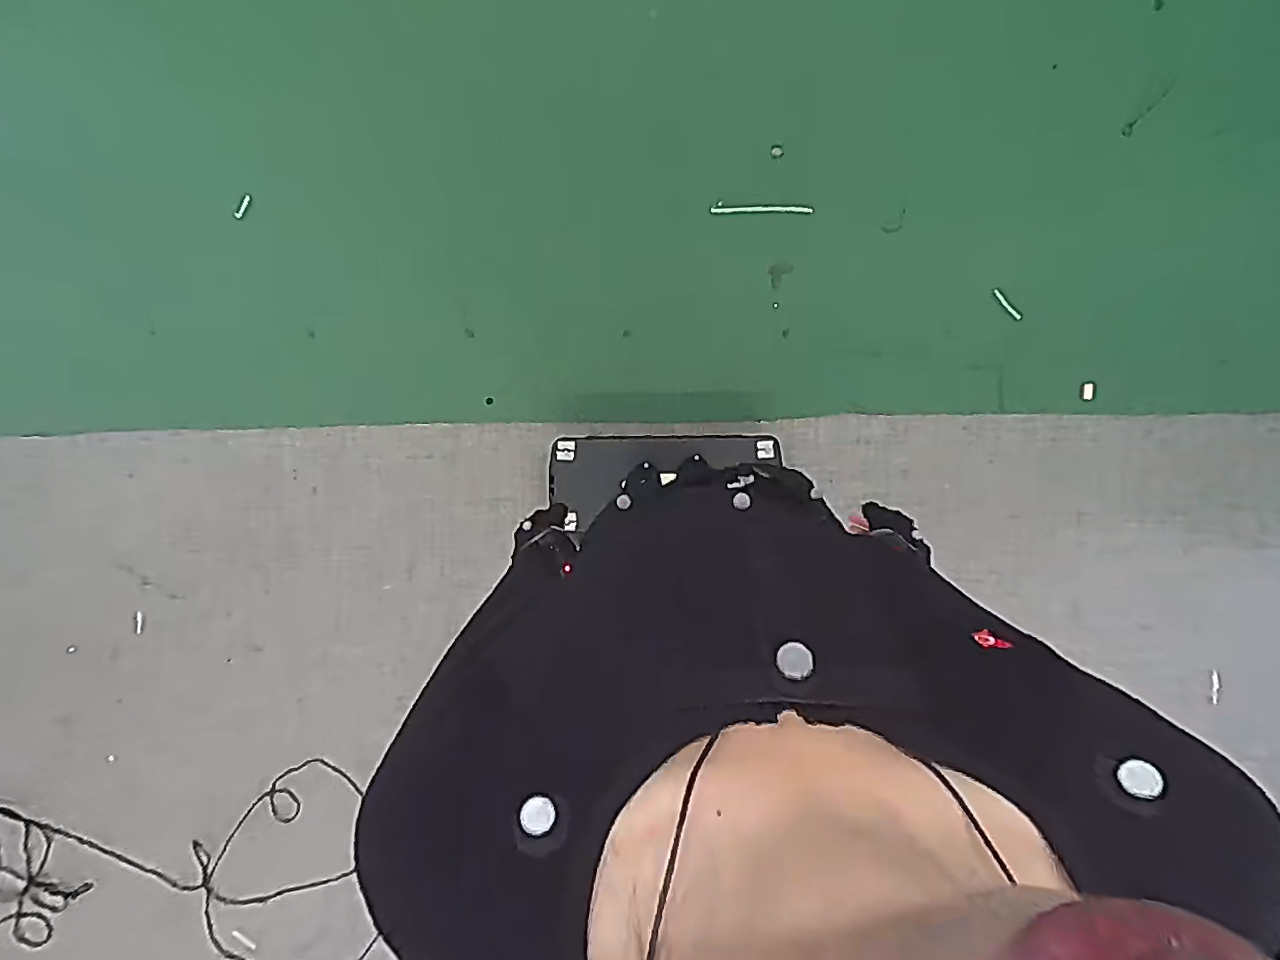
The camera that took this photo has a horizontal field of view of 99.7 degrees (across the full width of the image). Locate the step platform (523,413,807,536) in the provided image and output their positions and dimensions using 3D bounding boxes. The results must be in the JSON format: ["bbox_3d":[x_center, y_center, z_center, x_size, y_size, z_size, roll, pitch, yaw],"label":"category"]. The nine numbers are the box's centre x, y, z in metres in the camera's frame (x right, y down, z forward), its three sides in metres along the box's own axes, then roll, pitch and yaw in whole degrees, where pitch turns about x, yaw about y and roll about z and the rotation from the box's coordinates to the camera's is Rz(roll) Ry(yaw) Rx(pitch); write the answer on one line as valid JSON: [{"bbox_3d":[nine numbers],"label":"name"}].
[{"bbox_3d":[0.061,-0.018,1.389,0.684,0.204,0.286,-1,93,1],"label":"step platform"}]
